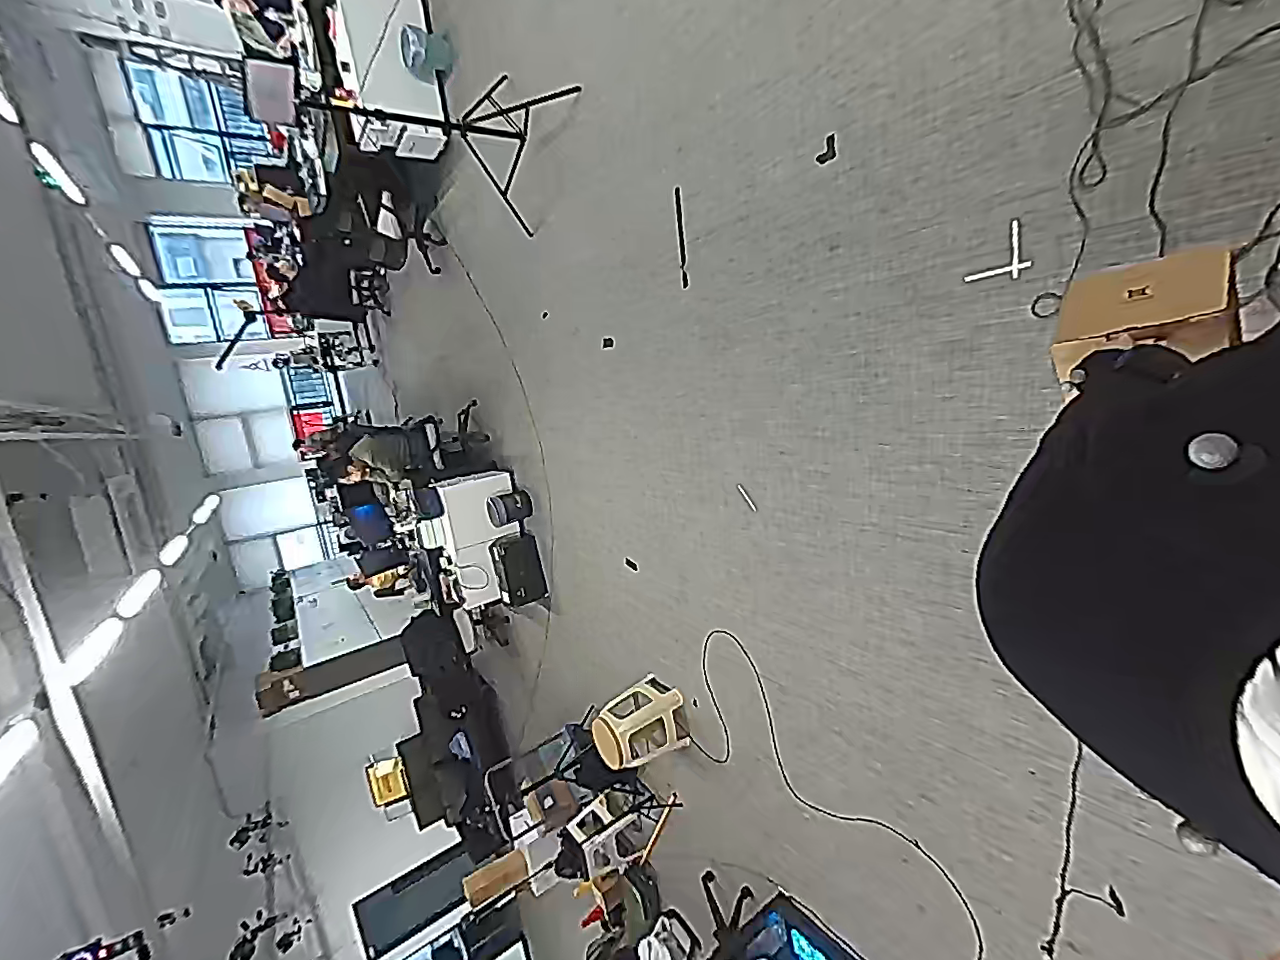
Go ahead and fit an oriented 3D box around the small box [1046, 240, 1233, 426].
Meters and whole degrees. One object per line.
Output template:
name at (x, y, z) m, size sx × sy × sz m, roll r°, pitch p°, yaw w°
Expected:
small box at (0.695, -0.188, 0.749) m, size 0.168 × 0.179 × 0.176 m, roll -3°, pitch 132°, yaw 50°
